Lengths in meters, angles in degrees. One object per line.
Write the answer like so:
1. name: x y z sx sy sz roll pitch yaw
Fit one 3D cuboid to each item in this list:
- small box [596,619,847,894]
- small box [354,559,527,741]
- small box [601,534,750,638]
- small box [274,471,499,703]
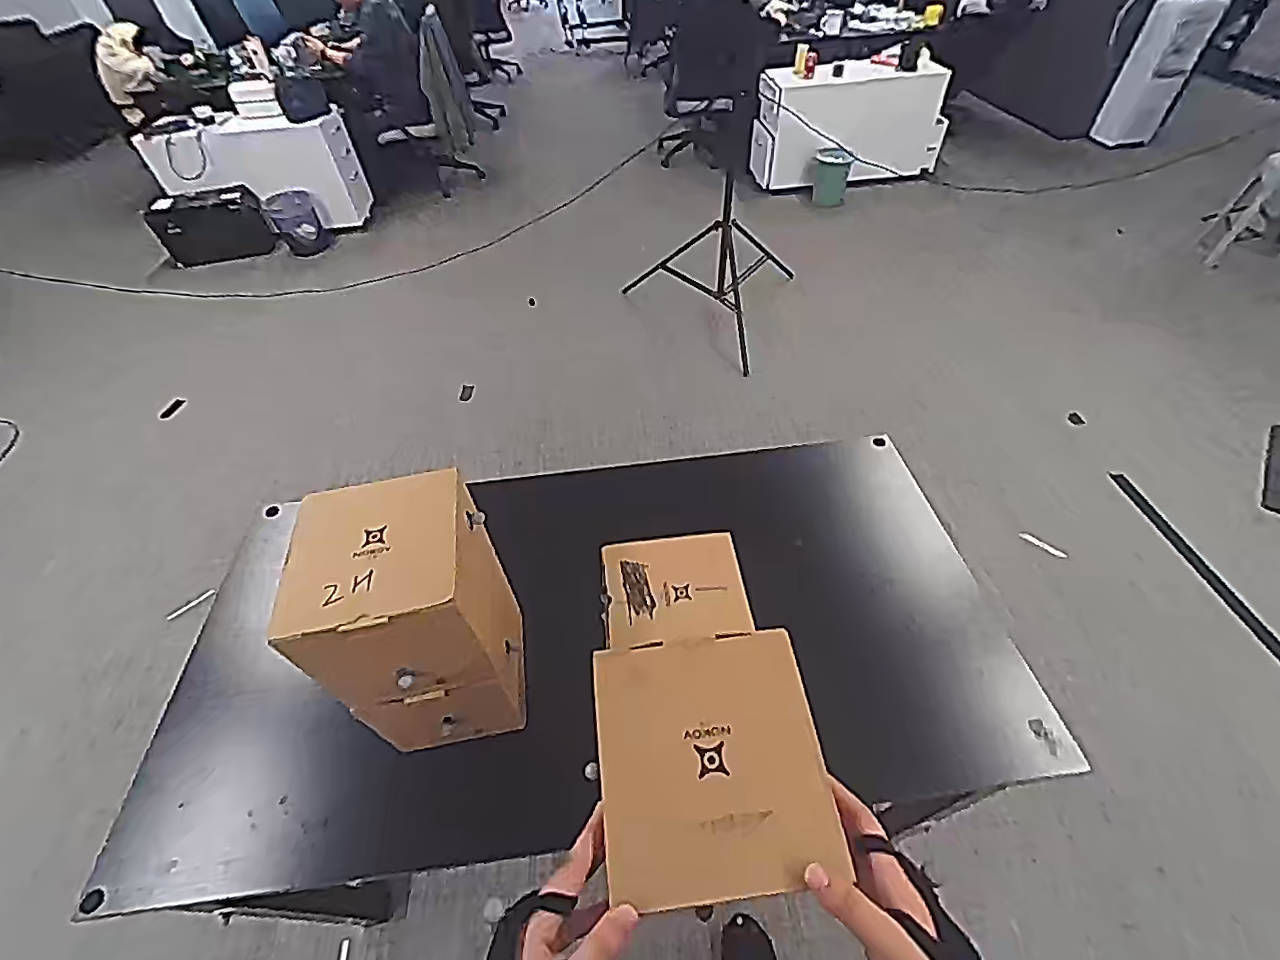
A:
1. small box: 0.052 0.242 0.475 0.168 0.176 0.179 -7 56 -3
2. small box: -0.252 0.232 0.725 0.168 0.176 0.179 -10 49 -5
3. small box: 0.045 0.195 0.737 0.179 0.176 0.168 -6 48 -2
4. small box: -0.260 0.119 0.603 0.168 0.176 0.179 -11 49 -6
